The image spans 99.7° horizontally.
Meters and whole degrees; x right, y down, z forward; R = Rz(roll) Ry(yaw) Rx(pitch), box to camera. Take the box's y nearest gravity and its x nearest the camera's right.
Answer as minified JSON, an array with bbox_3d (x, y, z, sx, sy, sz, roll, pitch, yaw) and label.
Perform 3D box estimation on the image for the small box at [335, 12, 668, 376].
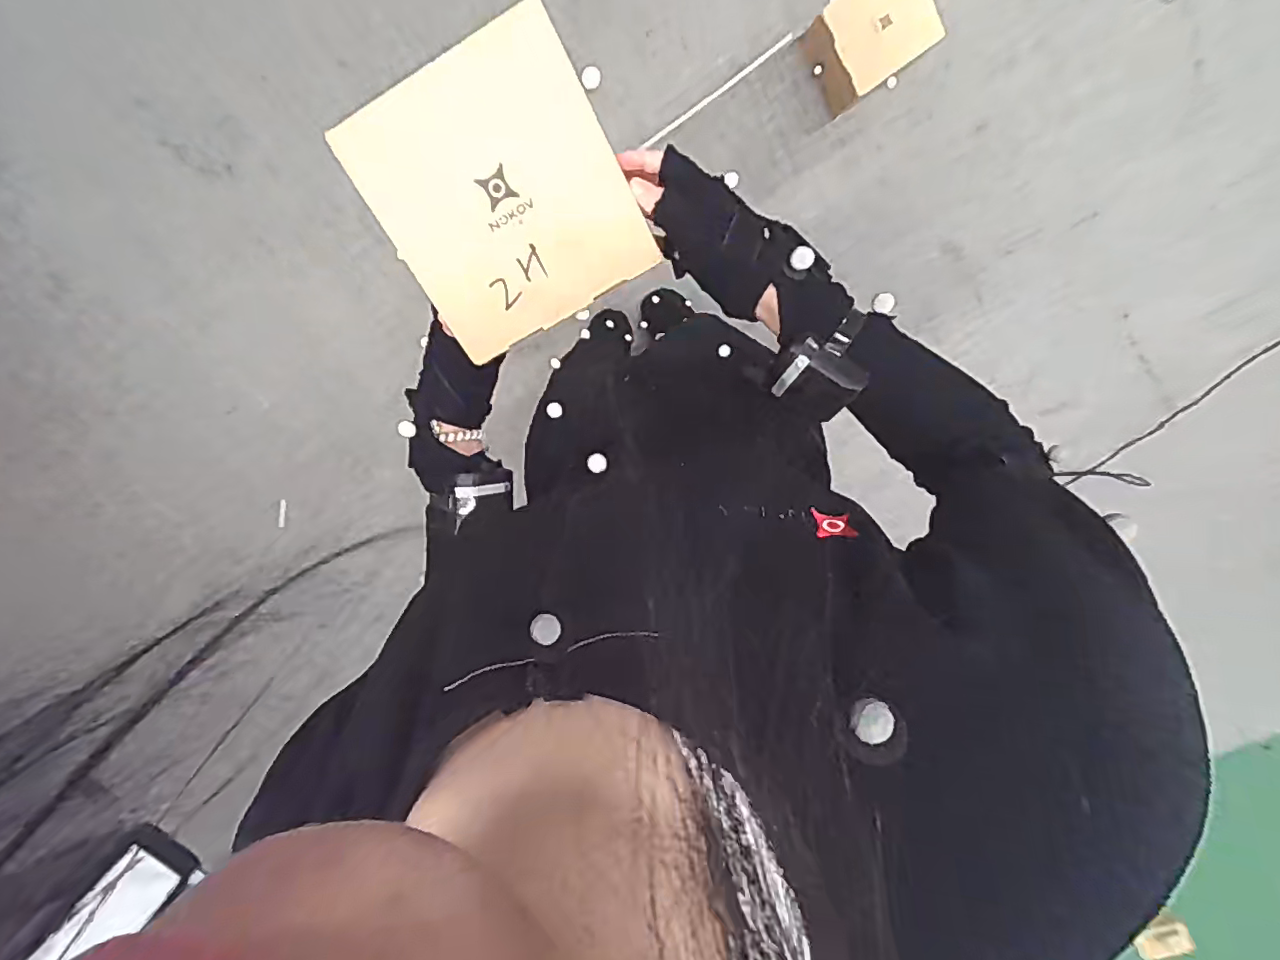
[{"bbox_3d":[-0.094,-0.213,0.443,0.168,0.176,0.179,-26,113,9],"label":"small box"}]

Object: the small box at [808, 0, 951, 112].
[{"bbox_3d":[0.456,-0.865,1.054,0.179,0.176,0.168,-31,108,15],"label":"small box"}]
